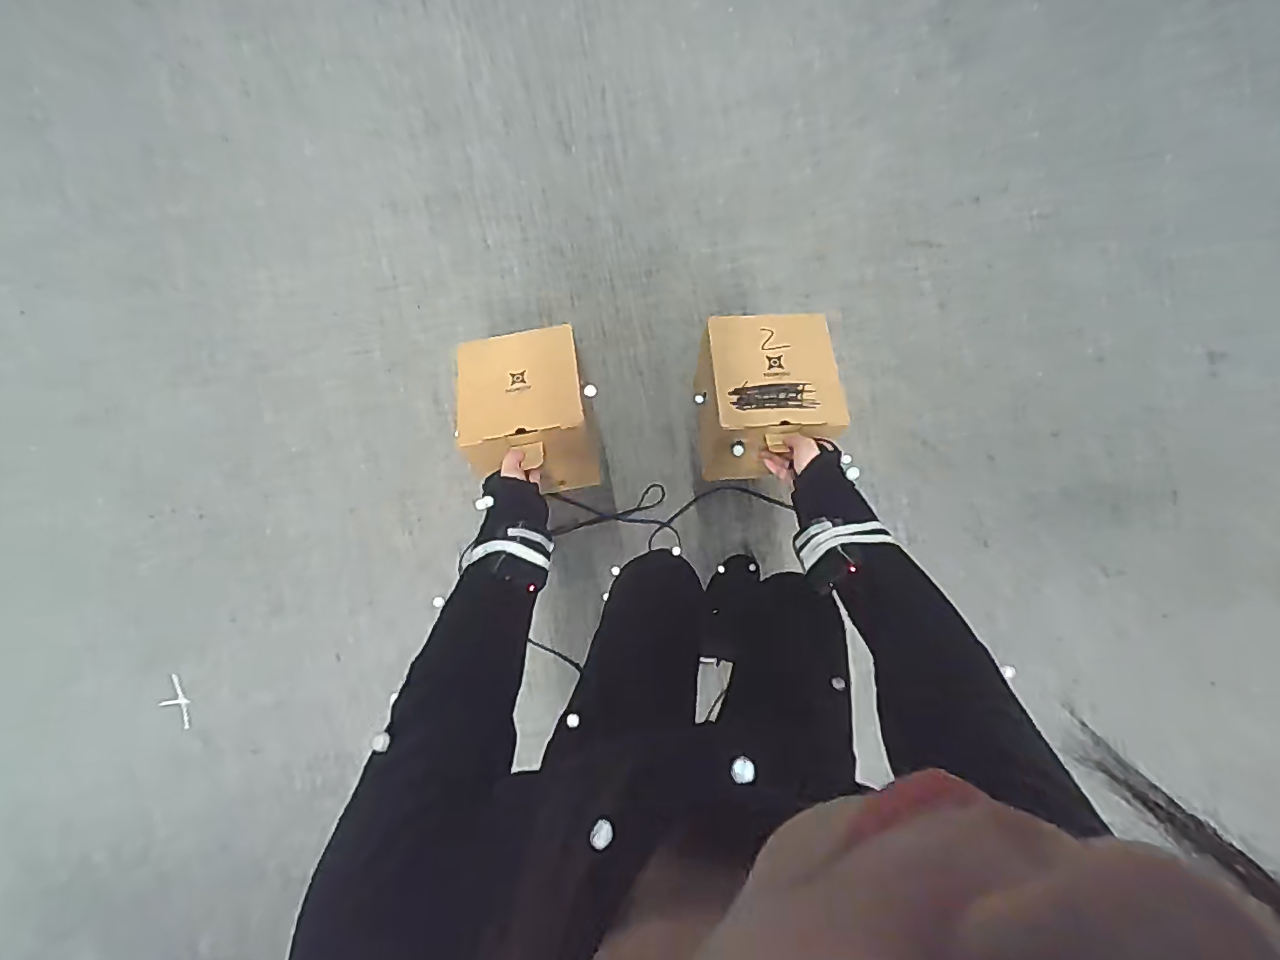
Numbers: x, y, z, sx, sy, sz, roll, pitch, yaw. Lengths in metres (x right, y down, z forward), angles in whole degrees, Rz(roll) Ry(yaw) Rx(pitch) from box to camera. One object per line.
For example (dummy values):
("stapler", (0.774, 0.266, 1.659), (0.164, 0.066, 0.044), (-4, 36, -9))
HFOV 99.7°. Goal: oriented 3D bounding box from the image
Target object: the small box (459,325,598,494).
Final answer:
("small box", (-0.161, -0.100, 0.811), (0.168, 0.176, 0.179), (-10, 62, 0))
